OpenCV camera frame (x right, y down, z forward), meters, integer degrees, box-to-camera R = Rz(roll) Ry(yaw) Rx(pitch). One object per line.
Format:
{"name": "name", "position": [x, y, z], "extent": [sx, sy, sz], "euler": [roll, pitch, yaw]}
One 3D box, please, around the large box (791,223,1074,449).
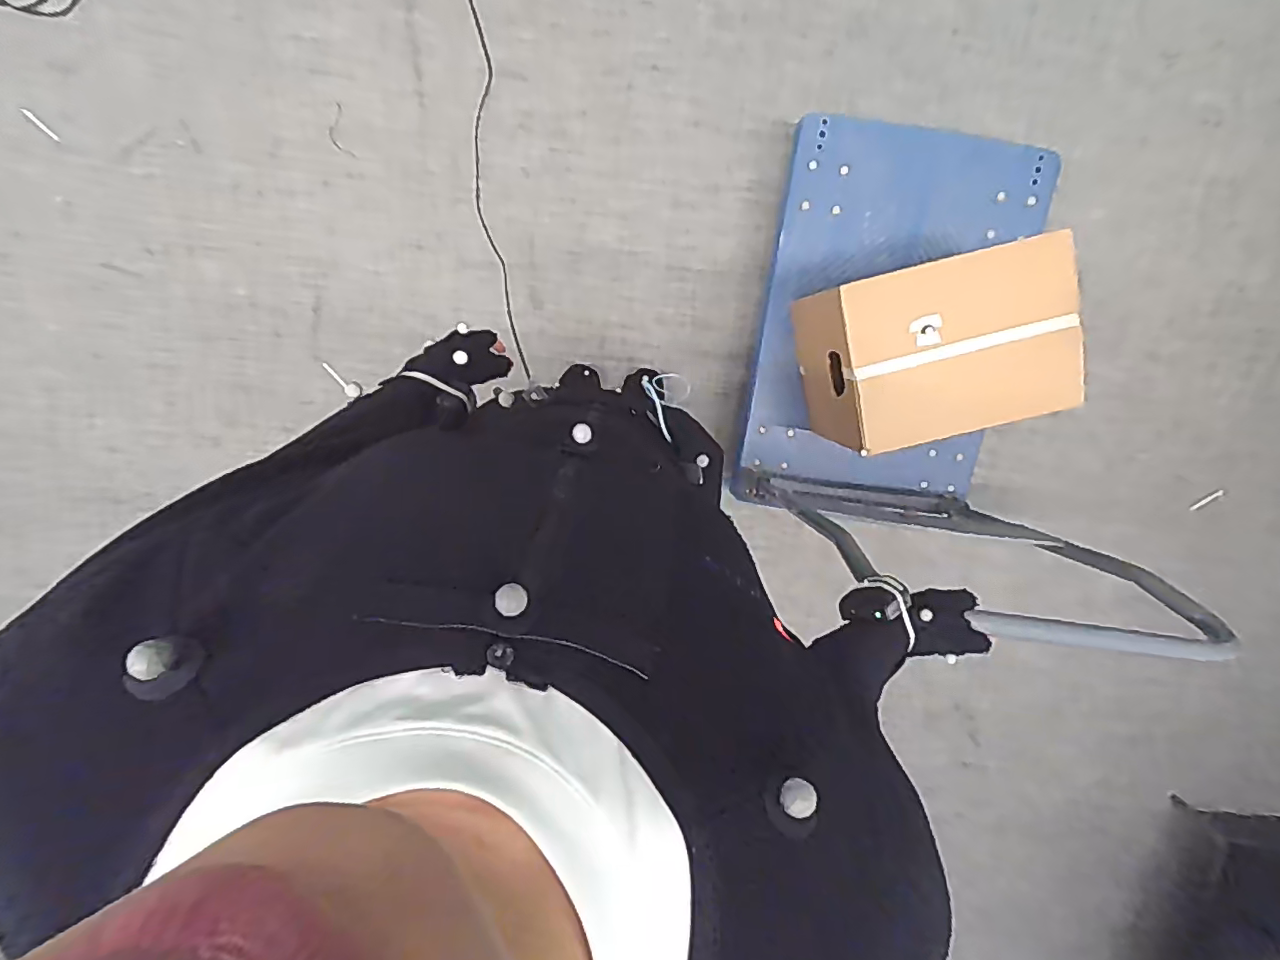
{"name": "large box", "position": [0.567, -0.285, 1.107], "extent": [0.408, 0.320, 0.320], "euler": [-13, 103, 3]}
